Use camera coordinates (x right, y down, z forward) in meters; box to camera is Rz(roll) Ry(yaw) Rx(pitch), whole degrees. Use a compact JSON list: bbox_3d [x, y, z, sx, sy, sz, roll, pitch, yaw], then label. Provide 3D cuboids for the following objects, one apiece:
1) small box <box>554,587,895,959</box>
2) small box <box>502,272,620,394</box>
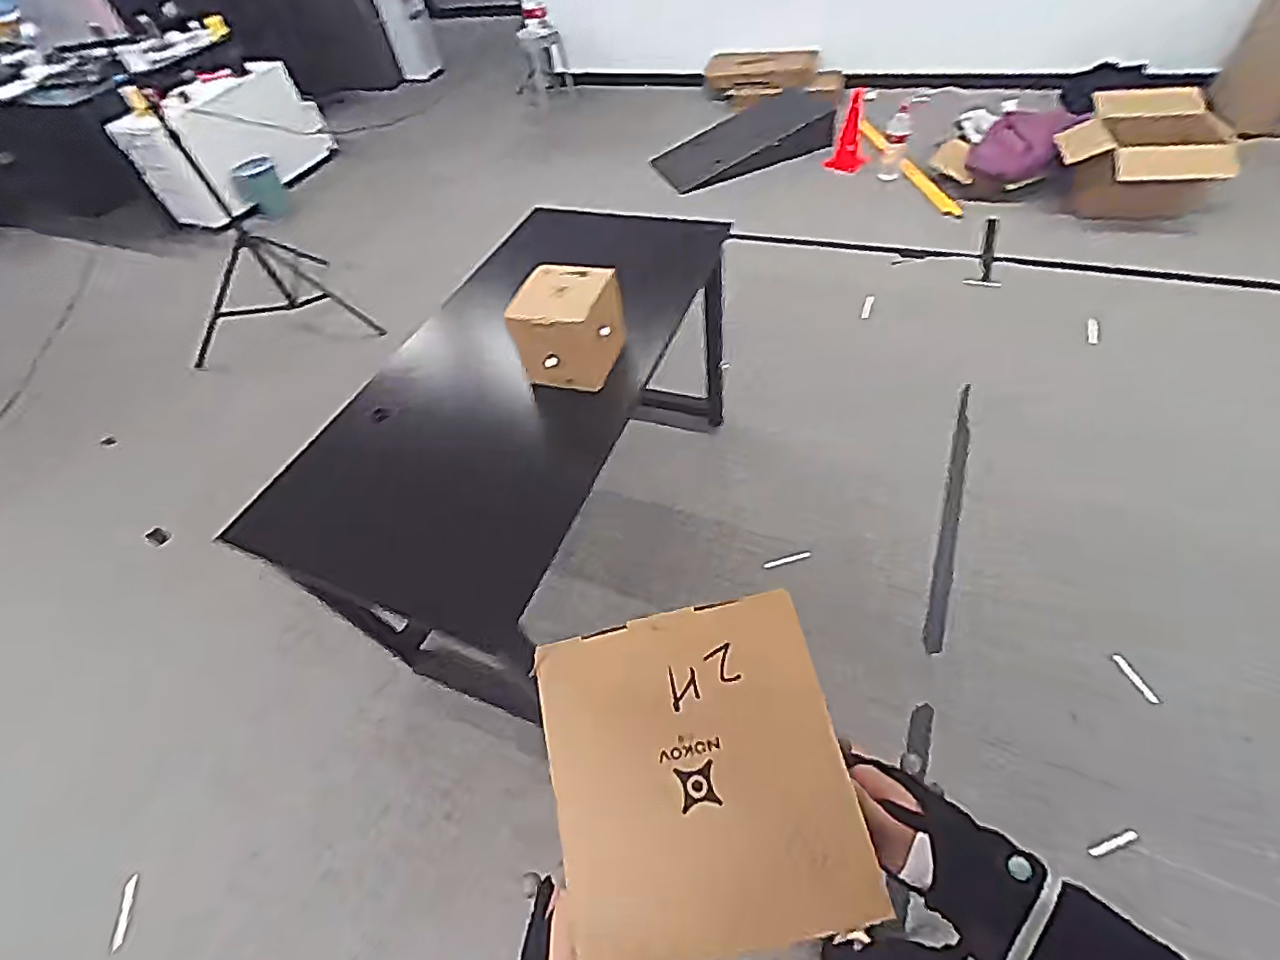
[{"bbox_3d":[0.047,0.192,0.387,0.168,0.176,0.179,-13,66,0],"label":"small box"},{"bbox_3d":[-0.149,-0.297,1.103,0.168,0.176,0.179,10,56,17],"label":"small box"}]
